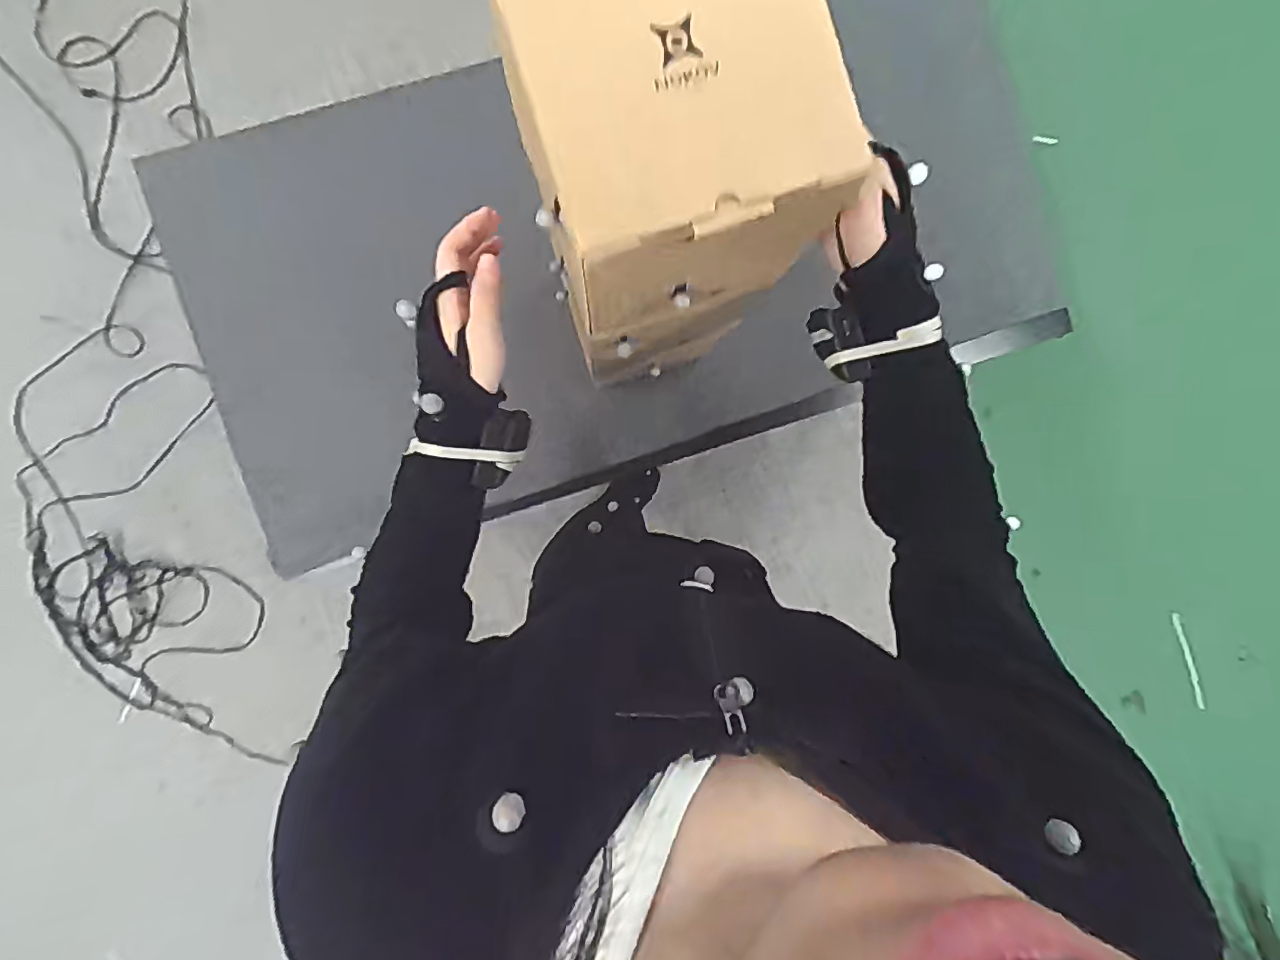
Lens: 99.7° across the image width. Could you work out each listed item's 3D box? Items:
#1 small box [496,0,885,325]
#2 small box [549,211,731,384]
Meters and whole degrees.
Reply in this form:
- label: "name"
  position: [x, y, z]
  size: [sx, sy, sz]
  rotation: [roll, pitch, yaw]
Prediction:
- label: "small box"
  position: [0.016, -0.225, 0.346]
  size: [0.168, 0.176, 0.179]
  rotation: [-19, 92, -3]
- label: "small box"
  position: [-0.005, -0.235, 0.671]
  size: [0.168, 0.176, 0.179]
  rotation: [-17, 92, -3]
